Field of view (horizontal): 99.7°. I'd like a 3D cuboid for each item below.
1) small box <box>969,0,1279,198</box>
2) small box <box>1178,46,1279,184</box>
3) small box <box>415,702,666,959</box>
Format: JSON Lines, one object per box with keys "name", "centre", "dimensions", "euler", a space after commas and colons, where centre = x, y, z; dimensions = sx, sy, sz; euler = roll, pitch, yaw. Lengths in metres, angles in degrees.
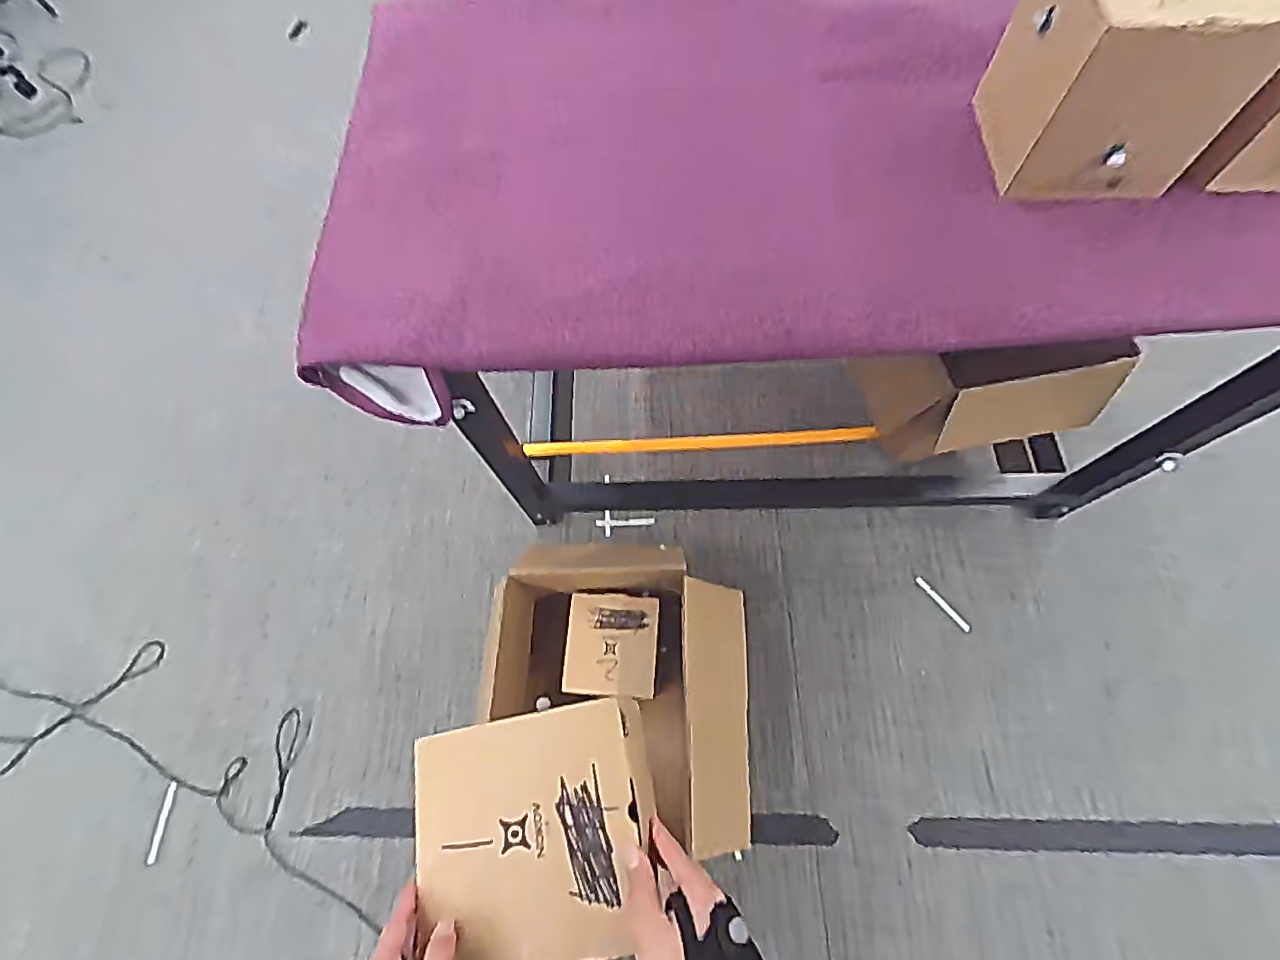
{"name": "small box", "centre": [0.471, -0.423, 0.556], "dimensions": [0.168, 0.176, 0.179], "euler": [1, 66, 5]}
{"name": "small box", "centre": [0.682, -0.431, 0.544], "dimensions": [0.168, 0.176, 0.179], "euler": [1, 66, 5]}
{"name": "small box", "centre": [-0.076, 0.298, 0.478], "dimensions": [0.179, 0.176, 0.168], "euler": [-12, 65, 0]}
